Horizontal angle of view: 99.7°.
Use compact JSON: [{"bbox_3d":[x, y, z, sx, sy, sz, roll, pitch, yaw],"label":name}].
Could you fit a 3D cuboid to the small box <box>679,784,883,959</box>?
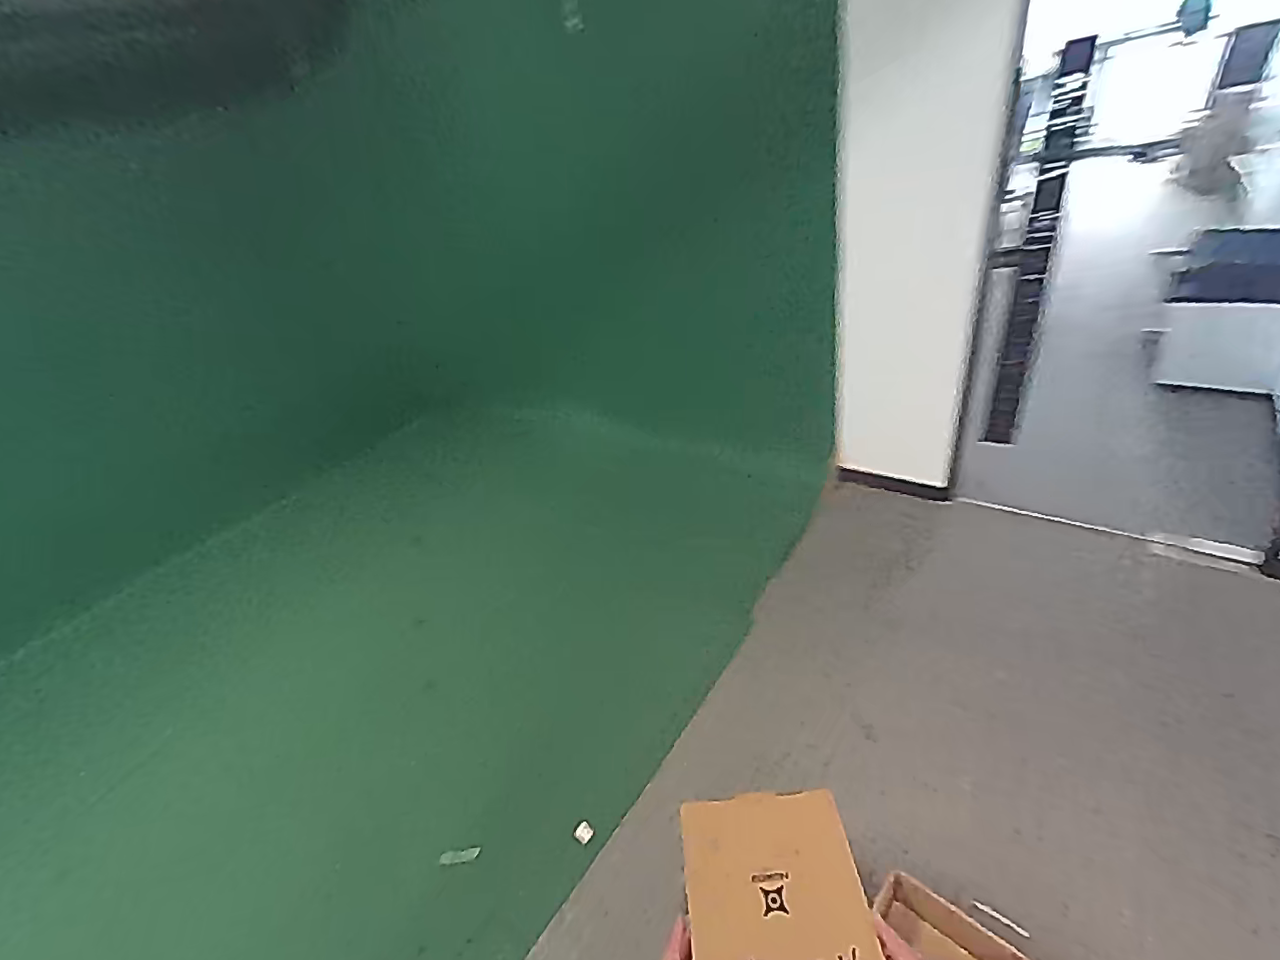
[{"bbox_3d":[0.133,0.446,0.551,0.168,0.176,0.179,-8,34,3],"label":"small box"}]
